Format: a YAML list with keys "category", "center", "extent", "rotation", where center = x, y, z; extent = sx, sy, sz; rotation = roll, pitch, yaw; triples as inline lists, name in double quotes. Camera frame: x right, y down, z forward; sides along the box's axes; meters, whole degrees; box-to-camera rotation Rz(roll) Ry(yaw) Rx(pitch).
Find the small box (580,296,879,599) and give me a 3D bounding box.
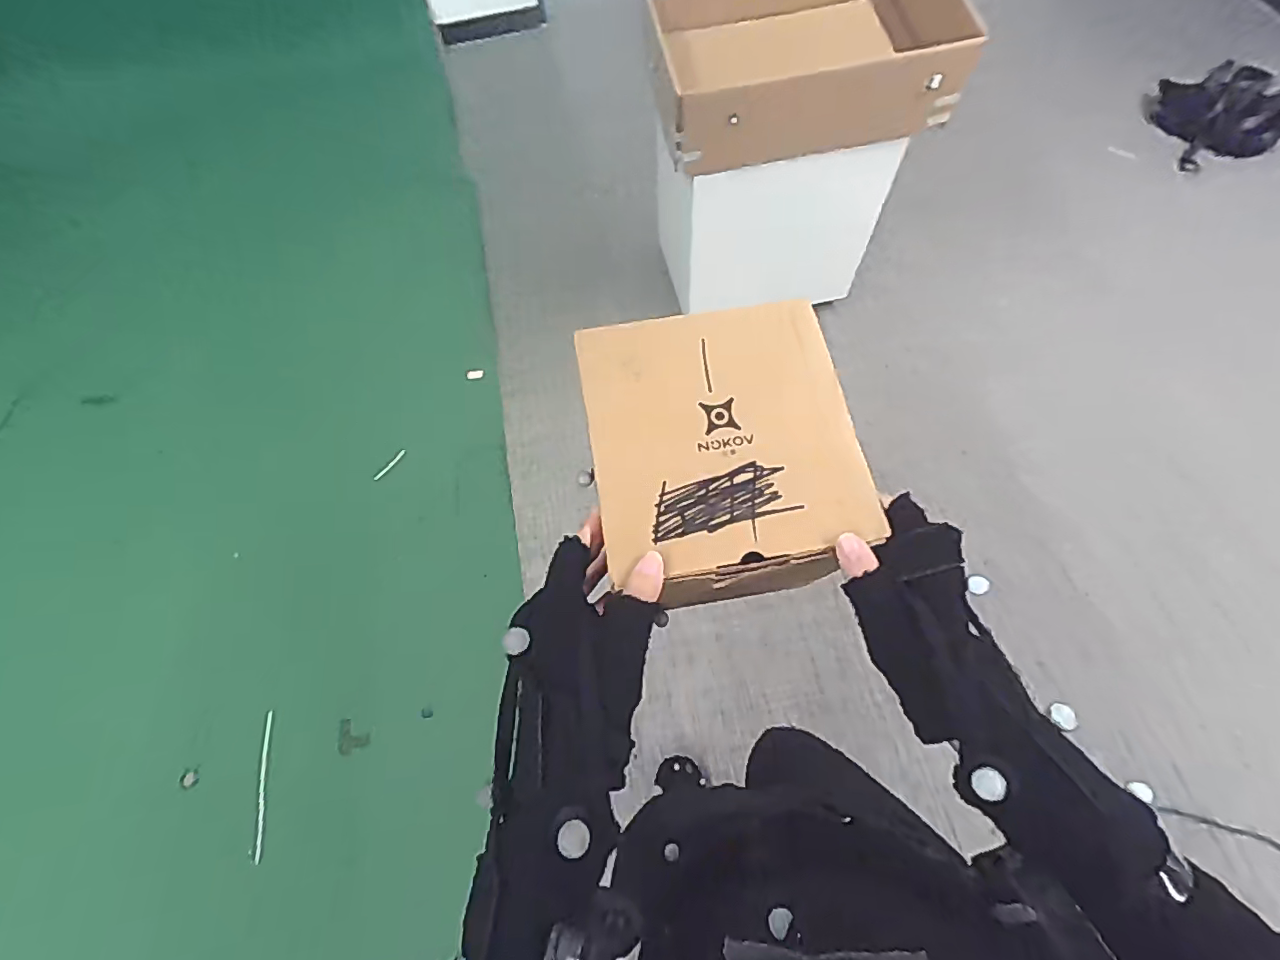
- category: "small box"
  center: [0.052, -0.009, 0.418]
  extent: [0.168, 0.176, 0.179]
  rotation: [-8, 70, -3]
